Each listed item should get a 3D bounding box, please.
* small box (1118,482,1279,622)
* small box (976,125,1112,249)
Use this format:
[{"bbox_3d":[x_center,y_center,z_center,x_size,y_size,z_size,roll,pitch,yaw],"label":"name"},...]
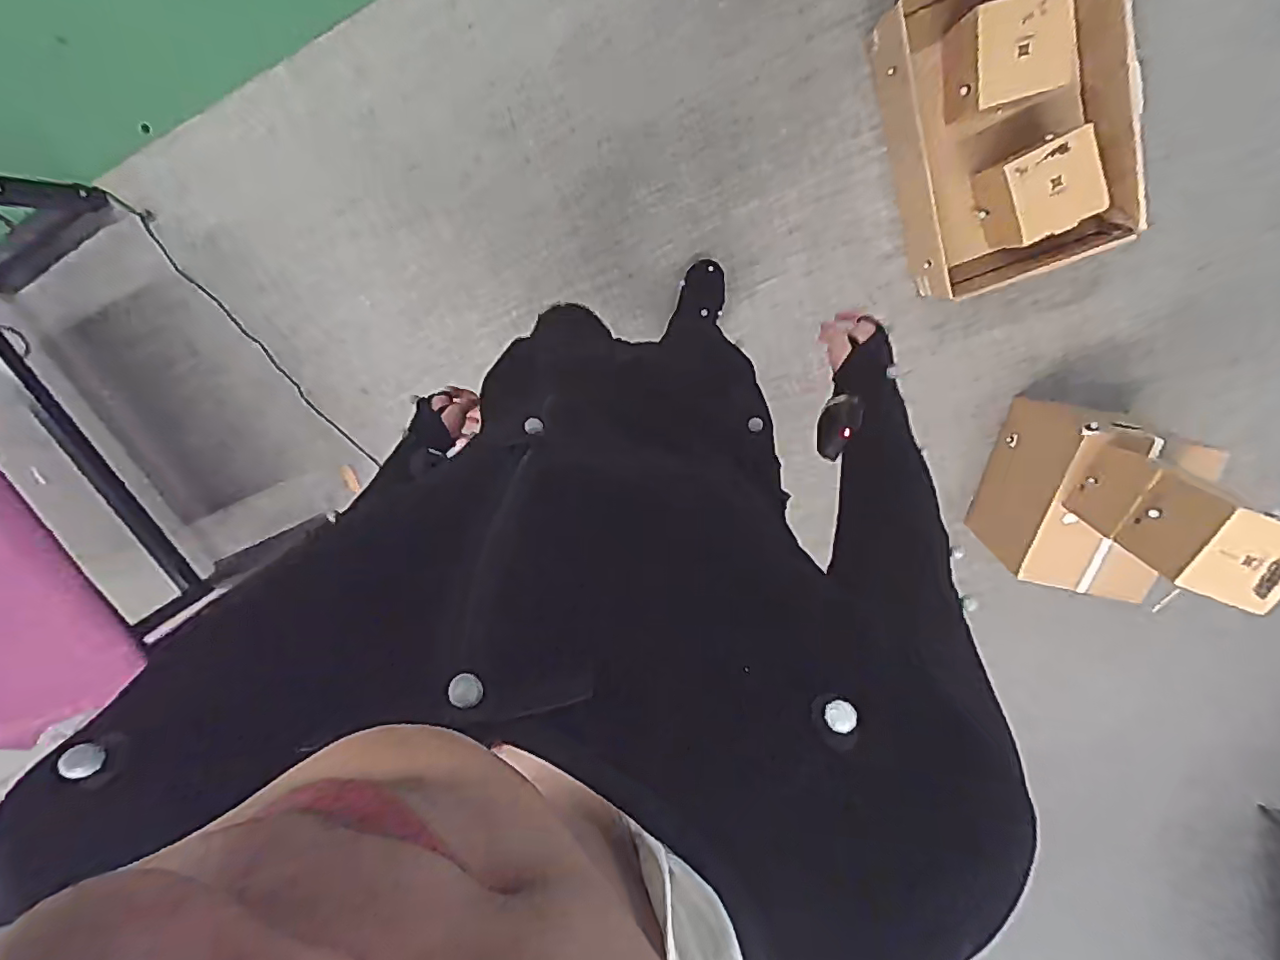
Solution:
[{"bbox_3d":[1.061,0.123,0.996,0.179,0.176,0.168,20,113,0],"label":"small box"},{"bbox_3d":[0.869,-0.625,1.175,0.168,0.176,0.179,-22,107,16],"label":"small box"}]
